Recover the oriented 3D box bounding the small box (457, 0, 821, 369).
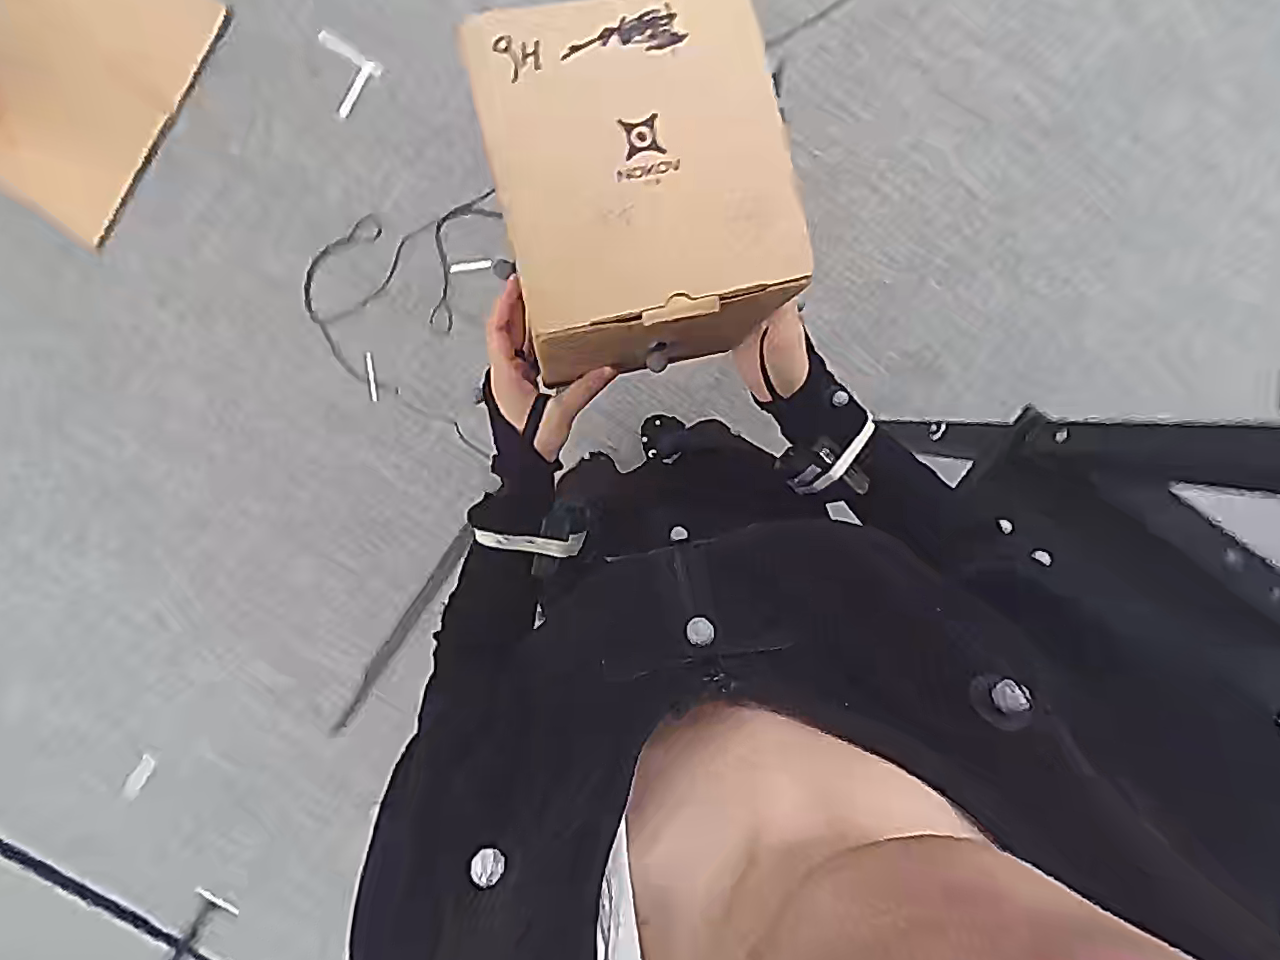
[{"bbox_3d":[-0.008,-0.182,0.366,0.168,0.176,0.179,-15,92,-10],"label":"small box"}]
